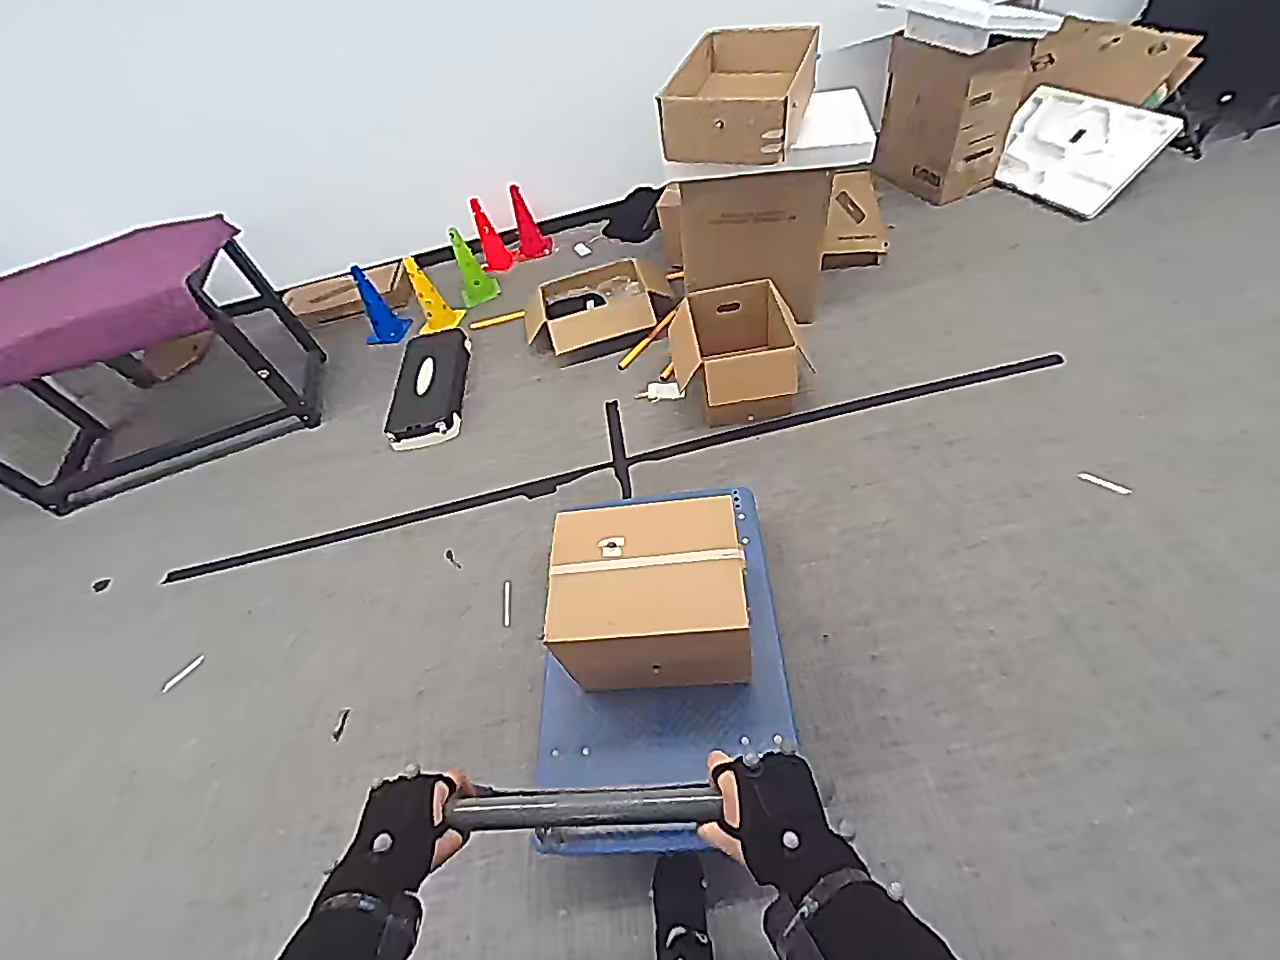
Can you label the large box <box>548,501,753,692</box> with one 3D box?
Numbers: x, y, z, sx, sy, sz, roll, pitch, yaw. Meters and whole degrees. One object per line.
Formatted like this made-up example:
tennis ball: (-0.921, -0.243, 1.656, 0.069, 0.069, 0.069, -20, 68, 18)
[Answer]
large box: (0.036, 0.283, 1.263, 0.408, 0.320, 0.320, -7, 50, 8)
